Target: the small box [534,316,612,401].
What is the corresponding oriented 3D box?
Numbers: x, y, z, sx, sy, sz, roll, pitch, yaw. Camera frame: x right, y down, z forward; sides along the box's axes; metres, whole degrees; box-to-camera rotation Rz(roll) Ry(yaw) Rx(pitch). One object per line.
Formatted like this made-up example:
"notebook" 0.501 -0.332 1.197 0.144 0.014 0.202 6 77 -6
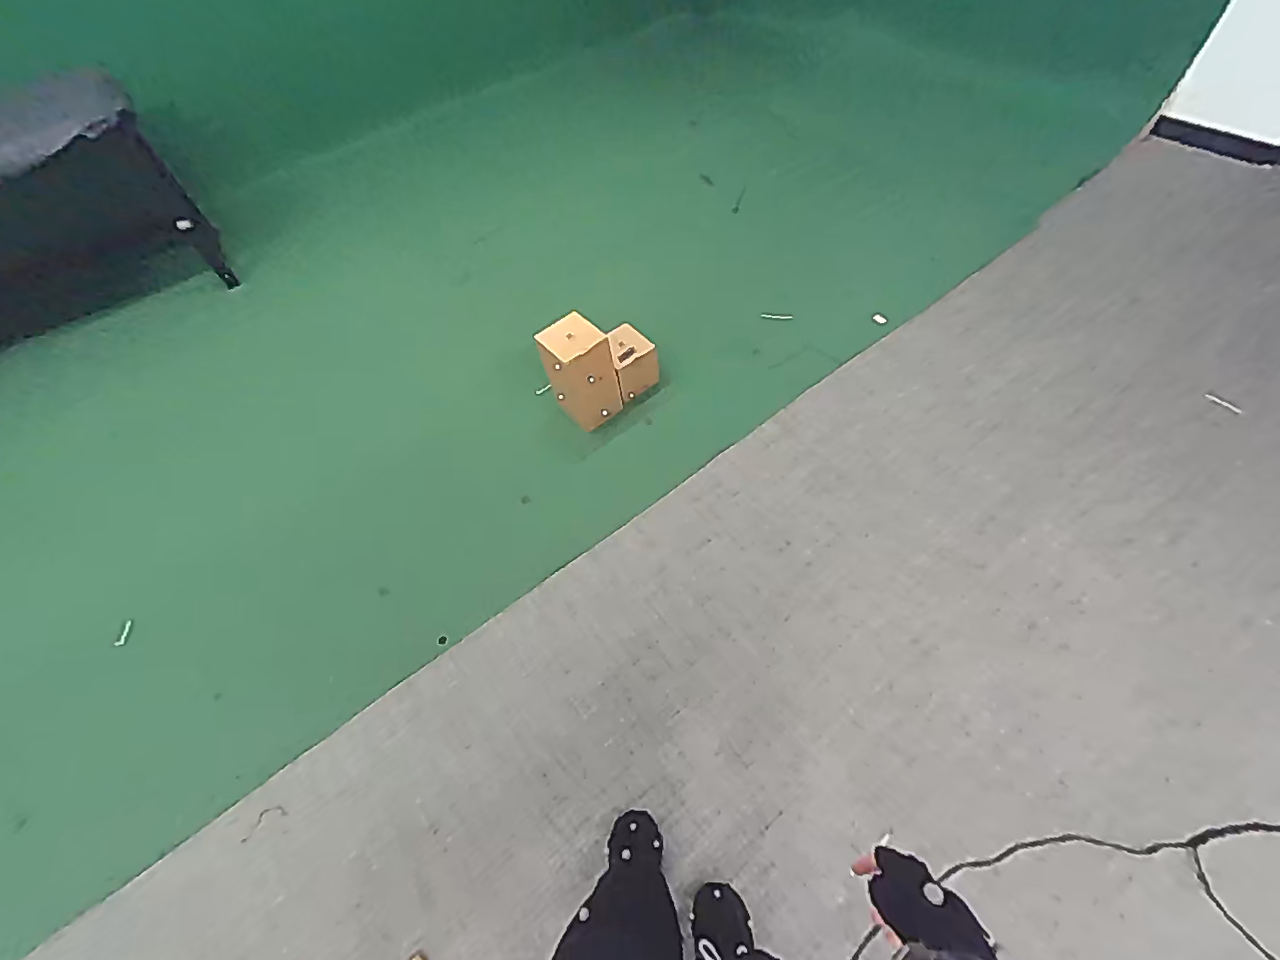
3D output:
"small box" -0.210 -0.385 1.731 0.168 0.176 0.179 -38 61 -18
